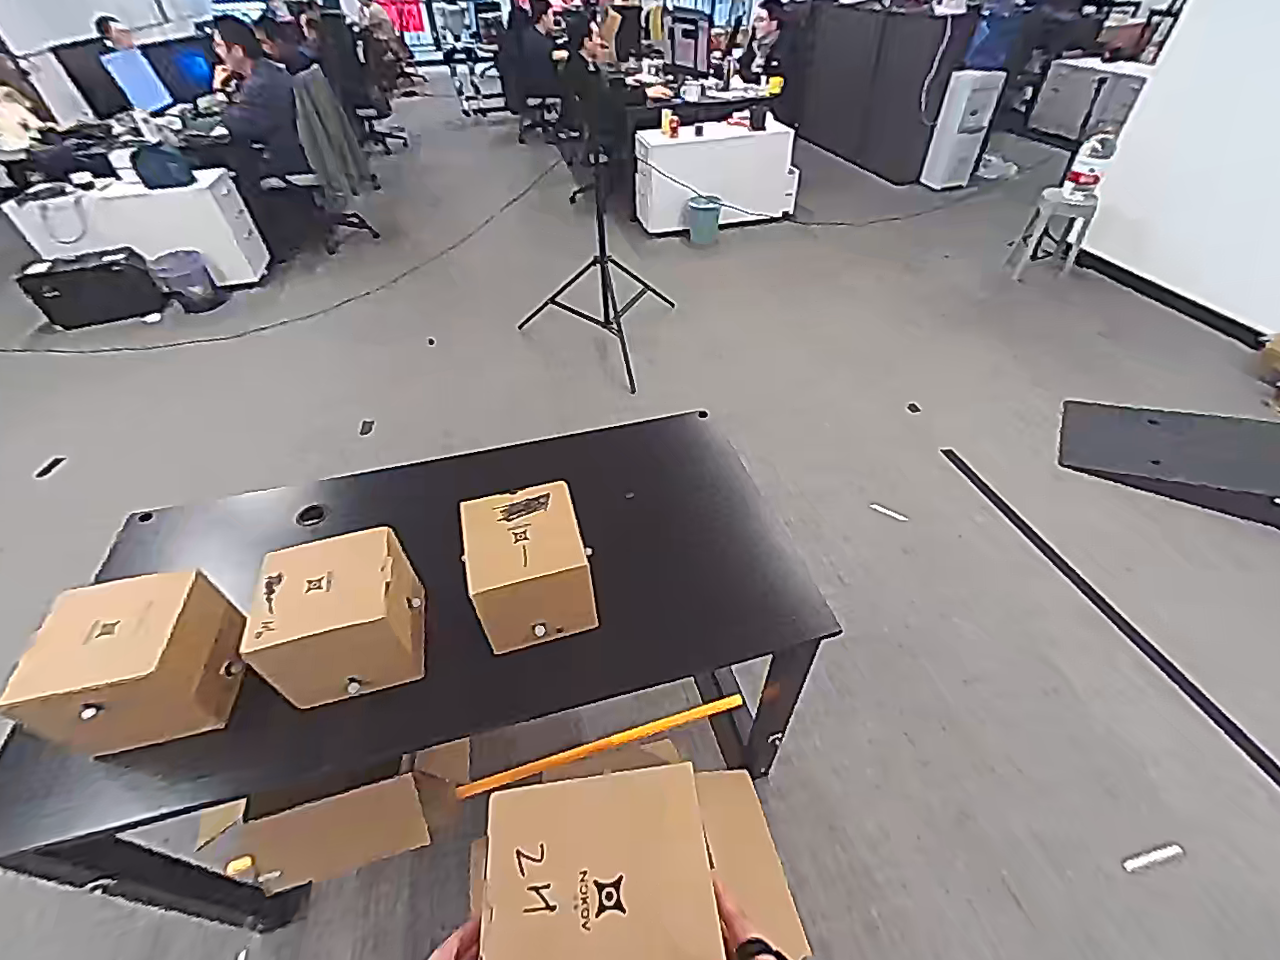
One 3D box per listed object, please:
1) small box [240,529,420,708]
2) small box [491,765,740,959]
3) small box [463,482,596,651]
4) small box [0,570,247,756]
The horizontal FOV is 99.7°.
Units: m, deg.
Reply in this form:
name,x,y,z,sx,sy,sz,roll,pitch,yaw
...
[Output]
name,x,y,z,sx,sy,sz,roll,pitch,yaw
small box,-0.428,0.201,0.785,0.179,0.176,0.168,-12,45,-12
small box,-0.019,0.364,0.458,0.179,0.176,0.168,-7,46,-3
small box,-0.171,0.134,0.843,0.168,0.176,0.179,-13,46,-11
small box,-0.683,0.252,0.741,0.179,0.176,0.168,-10,45,-9
